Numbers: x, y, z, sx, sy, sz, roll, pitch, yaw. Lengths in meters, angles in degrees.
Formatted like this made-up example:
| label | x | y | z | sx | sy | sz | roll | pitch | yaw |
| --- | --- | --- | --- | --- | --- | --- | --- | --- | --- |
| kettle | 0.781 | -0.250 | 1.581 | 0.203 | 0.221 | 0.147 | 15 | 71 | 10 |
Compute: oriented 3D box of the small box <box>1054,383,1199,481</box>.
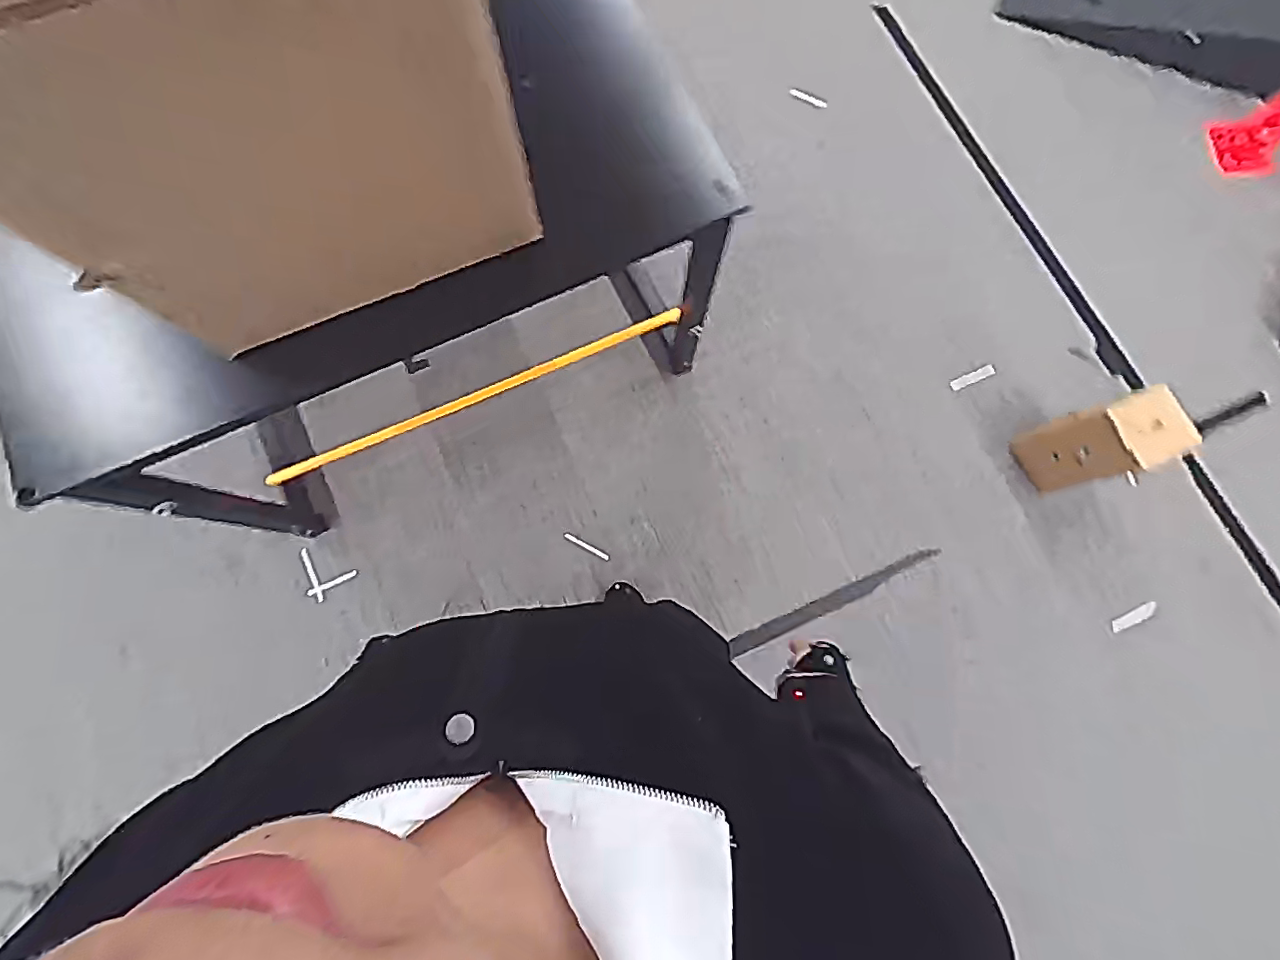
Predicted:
| label | x | y | z | sx | sy | sz | roll | pitch | yaw |
| --- | --- | --- | --- | --- | --- | --- | --- | --- | --- |
| small box | 1.206 | -0.115 | 1.355 | 0.179 | 0.176 | 0.168 | -25 | 81 | -6 |

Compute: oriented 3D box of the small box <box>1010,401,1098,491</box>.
| label | x | y | z | sx | sy | sz | roll | pitch | yaw |
| --- | --- | --- | --- | --- | --- | --- | --- | --- | --- |
| small box | 1.199 | -0.088 | 1.518 | 0.168 | 0.176 | 0.179 | -28 | 82 | -6 |
